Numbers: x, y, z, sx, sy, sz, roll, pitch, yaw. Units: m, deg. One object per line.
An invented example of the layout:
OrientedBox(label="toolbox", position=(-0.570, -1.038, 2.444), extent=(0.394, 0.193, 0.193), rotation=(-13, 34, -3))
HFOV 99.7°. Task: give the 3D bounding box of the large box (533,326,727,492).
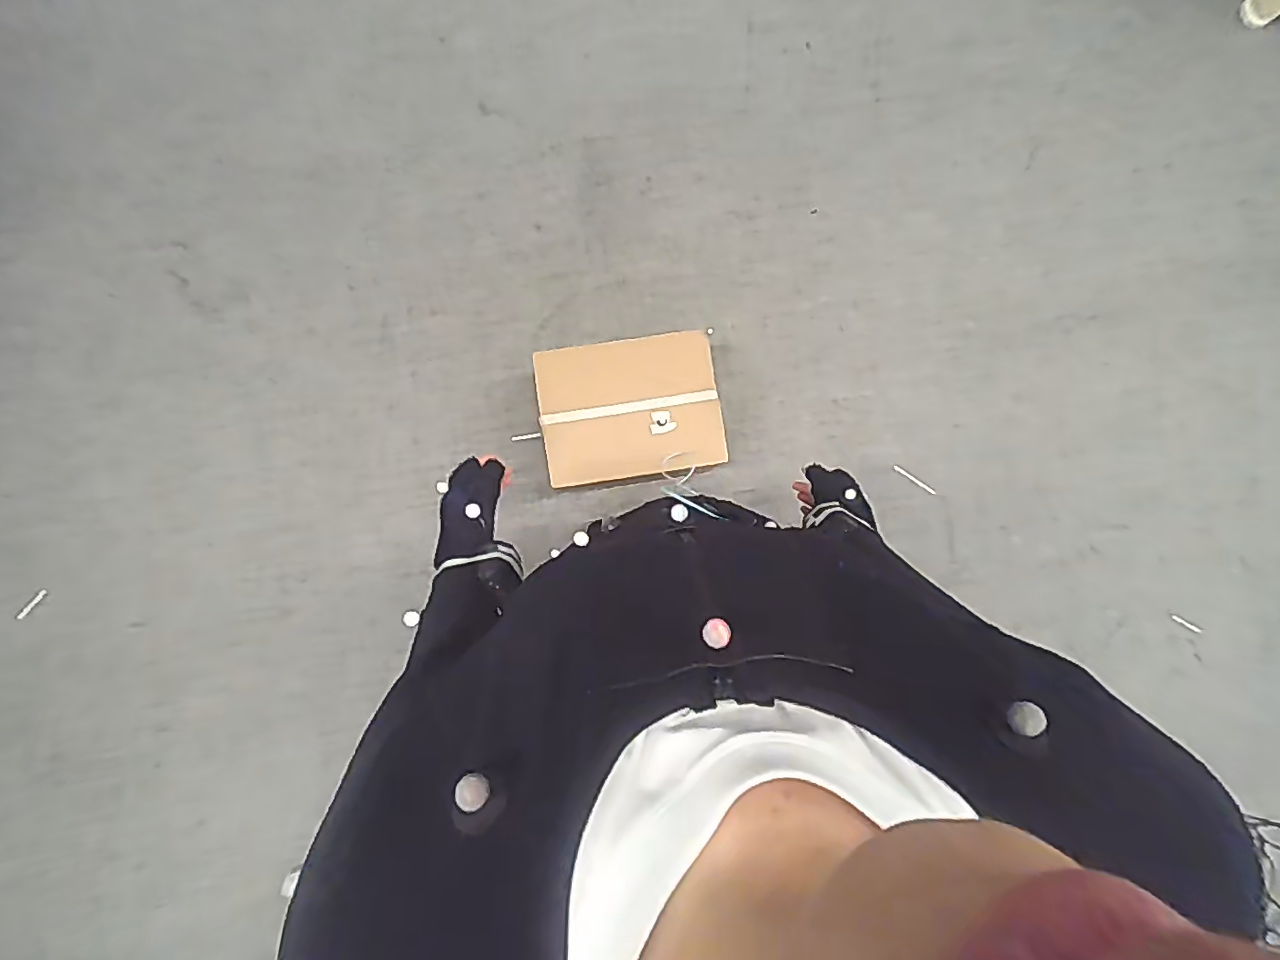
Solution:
OrientedBox(label="large box", position=(-0.028, -0.159, 1.361), extent=(0.408, 0.320, 0.320), rotation=(-9, 87, -3))
